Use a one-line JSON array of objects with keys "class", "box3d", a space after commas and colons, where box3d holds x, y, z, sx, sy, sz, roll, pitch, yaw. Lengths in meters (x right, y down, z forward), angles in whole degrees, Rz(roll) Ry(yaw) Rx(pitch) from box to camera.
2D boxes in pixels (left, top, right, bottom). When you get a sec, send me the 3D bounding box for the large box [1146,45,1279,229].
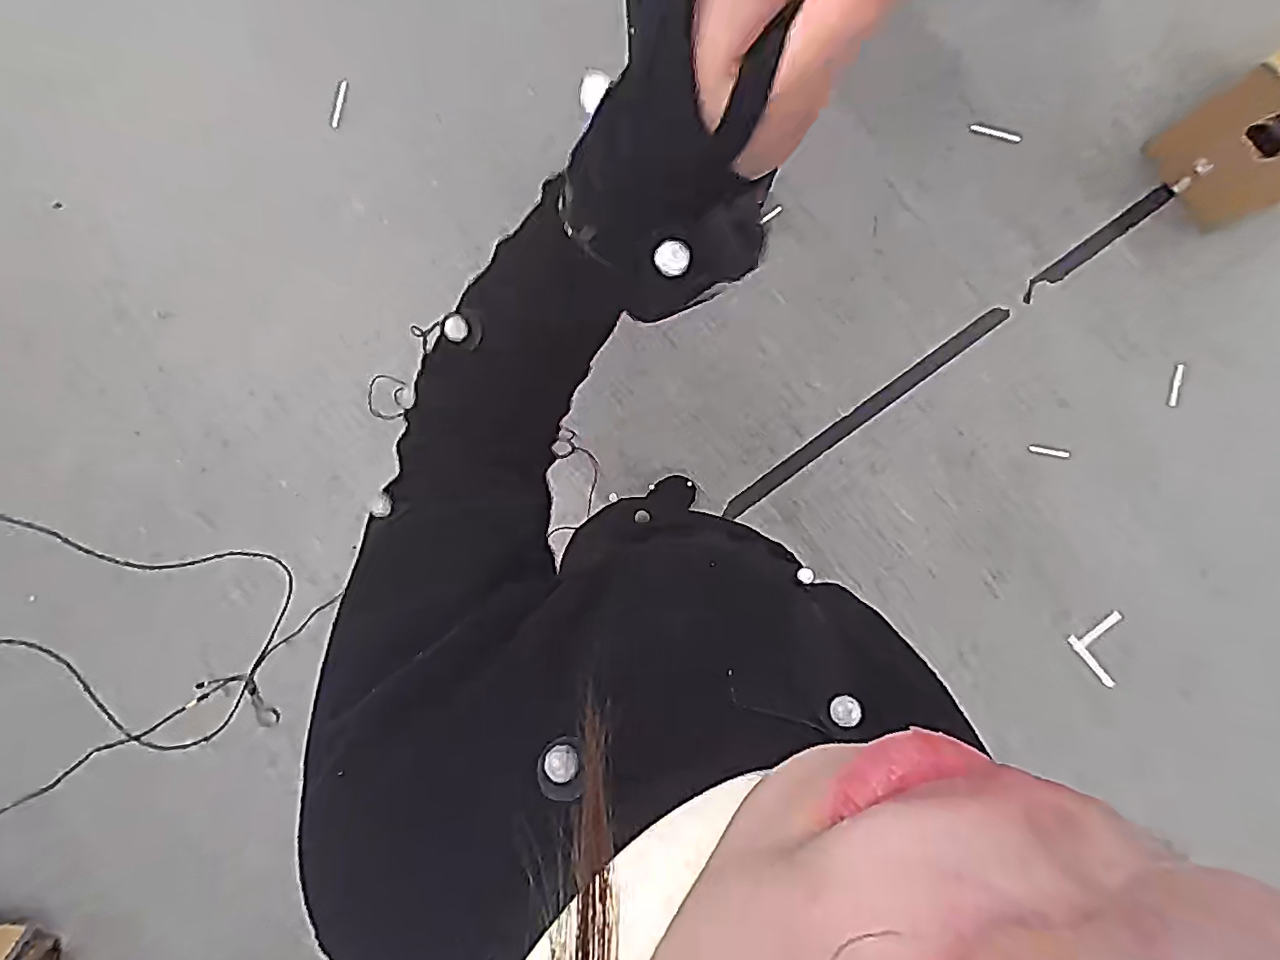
[{"class": "large box", "box3d": [1.637, -0.925, 1.346, 0.408, 0.320, 0.320, -35, 89, 0]}]
